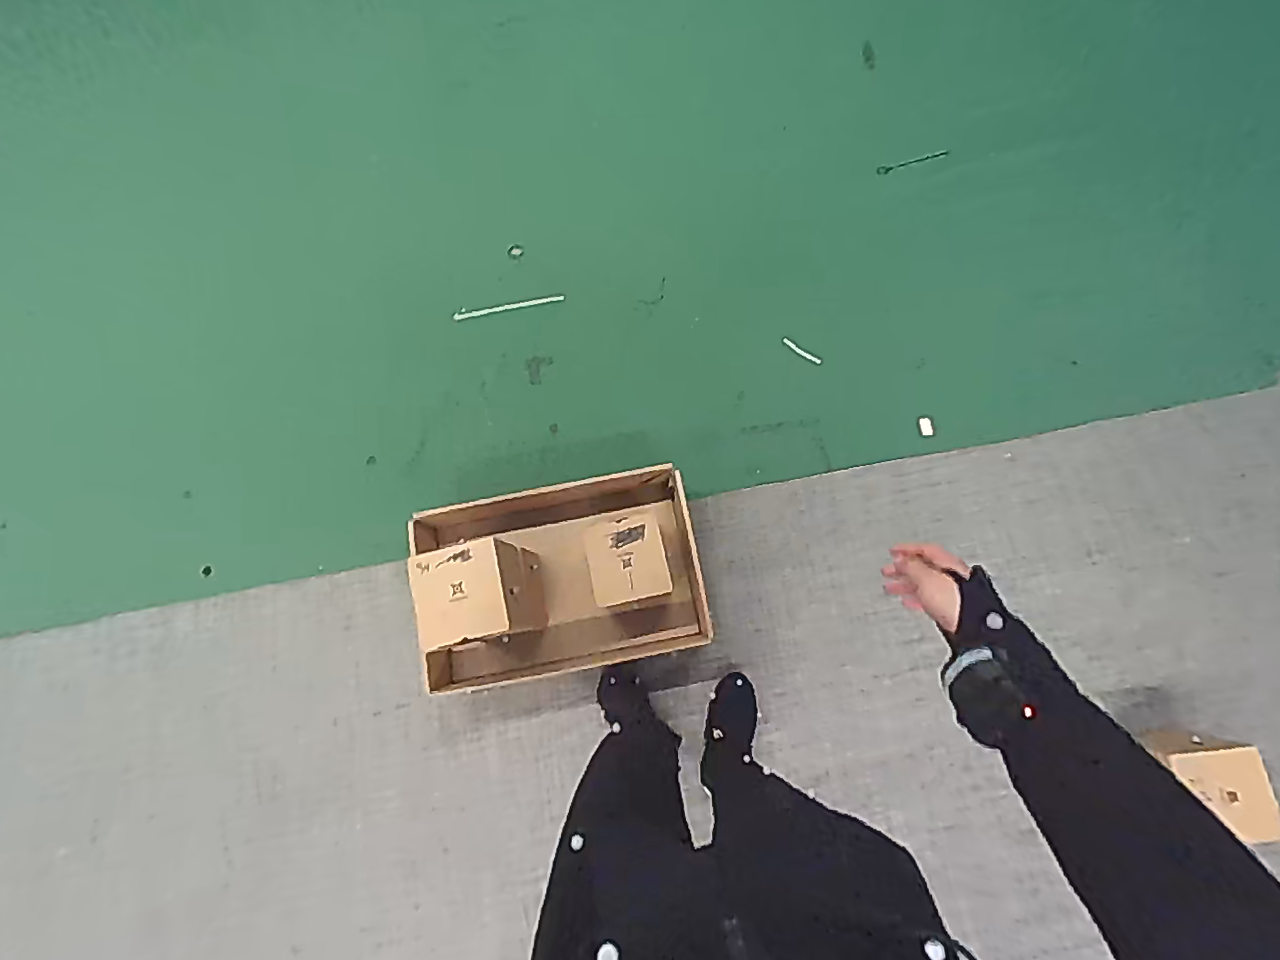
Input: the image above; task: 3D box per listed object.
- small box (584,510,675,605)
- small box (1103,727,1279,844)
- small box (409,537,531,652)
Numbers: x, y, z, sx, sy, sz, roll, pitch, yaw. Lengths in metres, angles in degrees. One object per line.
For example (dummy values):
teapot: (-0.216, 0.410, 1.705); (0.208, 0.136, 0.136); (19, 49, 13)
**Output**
small box: (-0.022, 0.178, 1.214); (0.168, 0.176, 0.179); (-13, 79, 0)
small box: (1.129, 0.623, 1.121); (0.179, 0.176, 0.168); (-6, 76, 1)
small box: (-0.321, 0.219, 1.048); (0.168, 0.176, 0.179); (-14, 78, -1)
